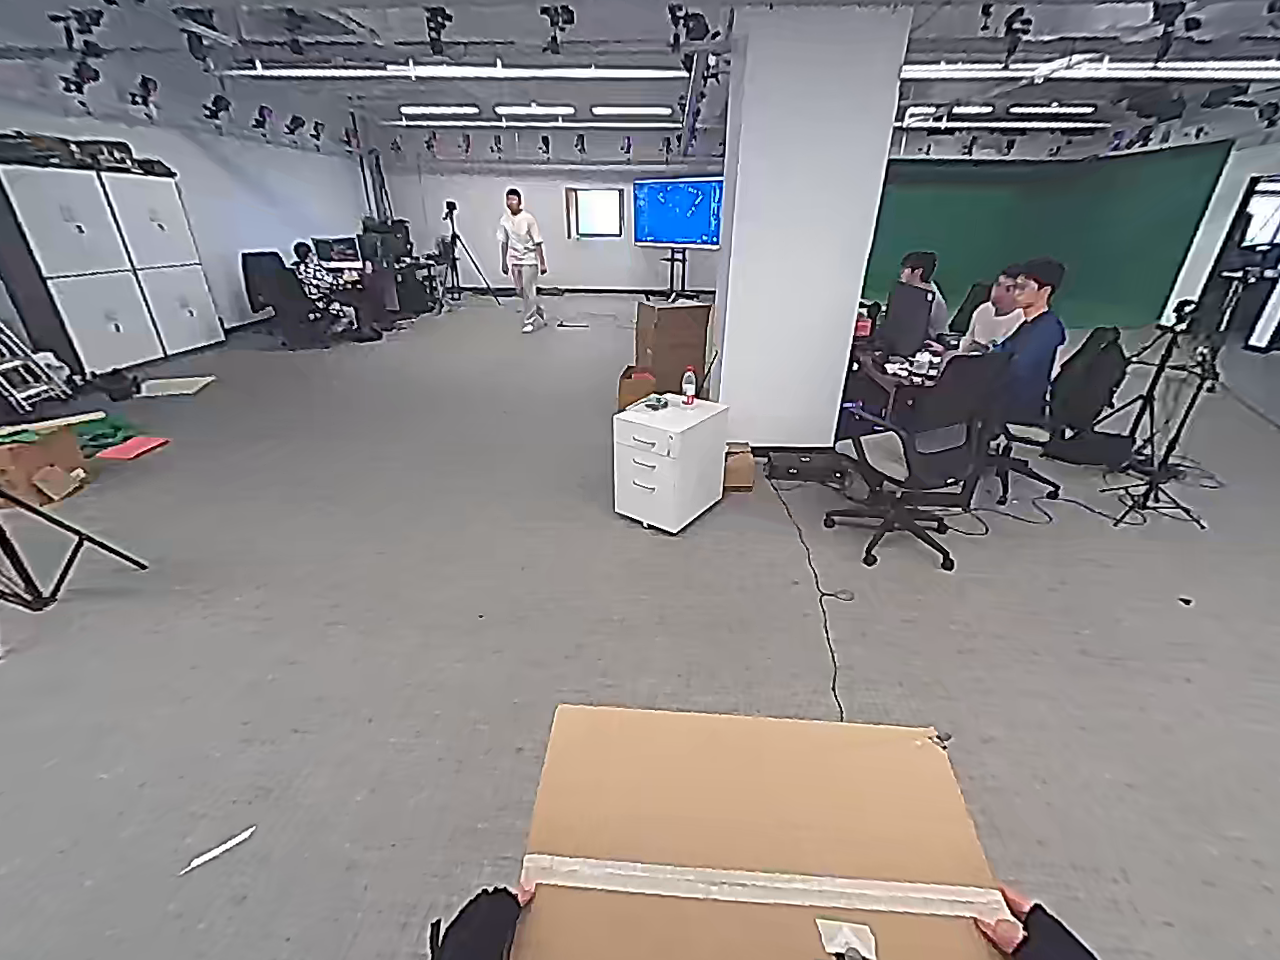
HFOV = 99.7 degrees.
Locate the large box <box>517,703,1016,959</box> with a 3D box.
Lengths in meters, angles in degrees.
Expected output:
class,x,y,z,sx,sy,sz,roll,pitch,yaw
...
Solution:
class,x,y,z,sx,sy,sz,roll,pitch,yaw
large box,0.102,0.468,0.561,0.408,0.320,0.320,3,36,4
